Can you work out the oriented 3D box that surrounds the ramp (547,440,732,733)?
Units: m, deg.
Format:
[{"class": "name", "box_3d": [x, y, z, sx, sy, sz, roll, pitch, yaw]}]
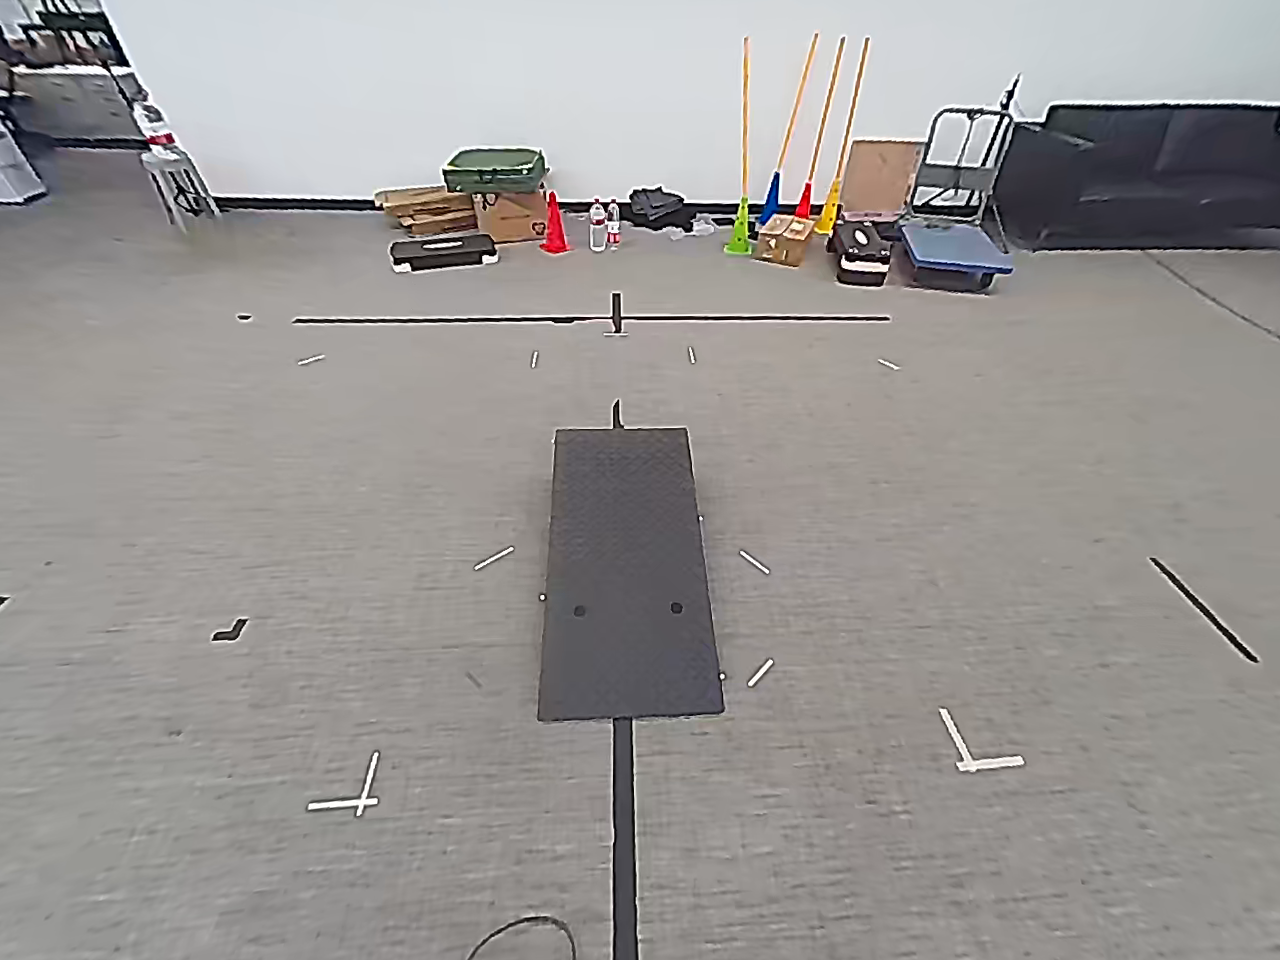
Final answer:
[{"class": "ramp", "box_3d": [-0.026, 0.253, 1.707, 0.509, 0.206, 0.991, -2, 42, -5]}]
